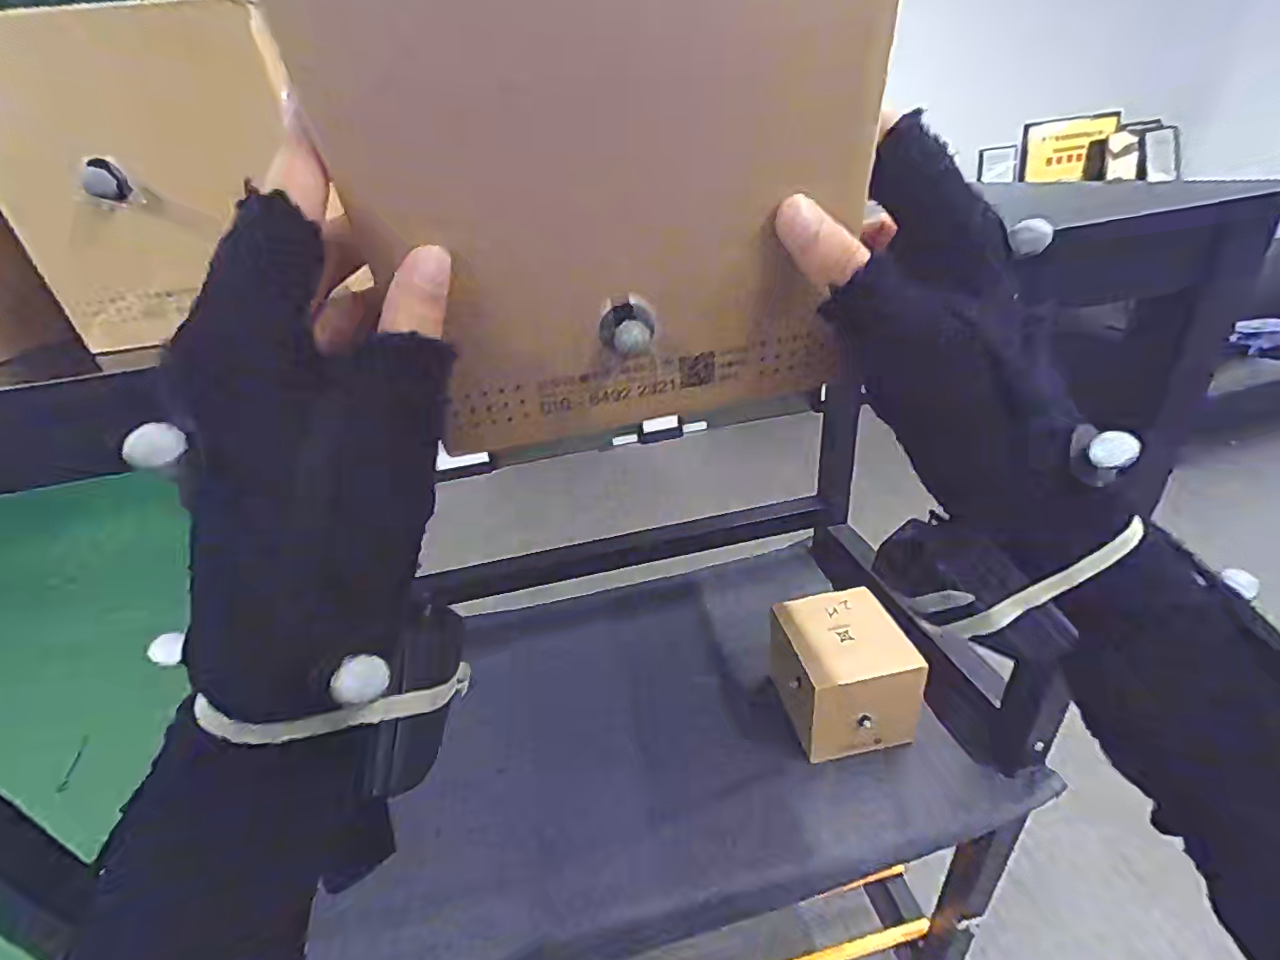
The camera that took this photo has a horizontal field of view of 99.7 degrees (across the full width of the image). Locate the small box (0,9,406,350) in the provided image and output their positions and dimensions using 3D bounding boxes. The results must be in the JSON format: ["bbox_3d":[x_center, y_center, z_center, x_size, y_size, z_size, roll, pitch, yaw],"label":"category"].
[{"bbox_3d":[-0.289,-0.199,0.388,0.168,0.176,0.179,-10,29,-5],"label":"small box"}]

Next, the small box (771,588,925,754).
[{"bbox_3d":[0.314,0.302,0.850,0.168,0.176,0.179,-9,29,-4],"label":"small box"}]
